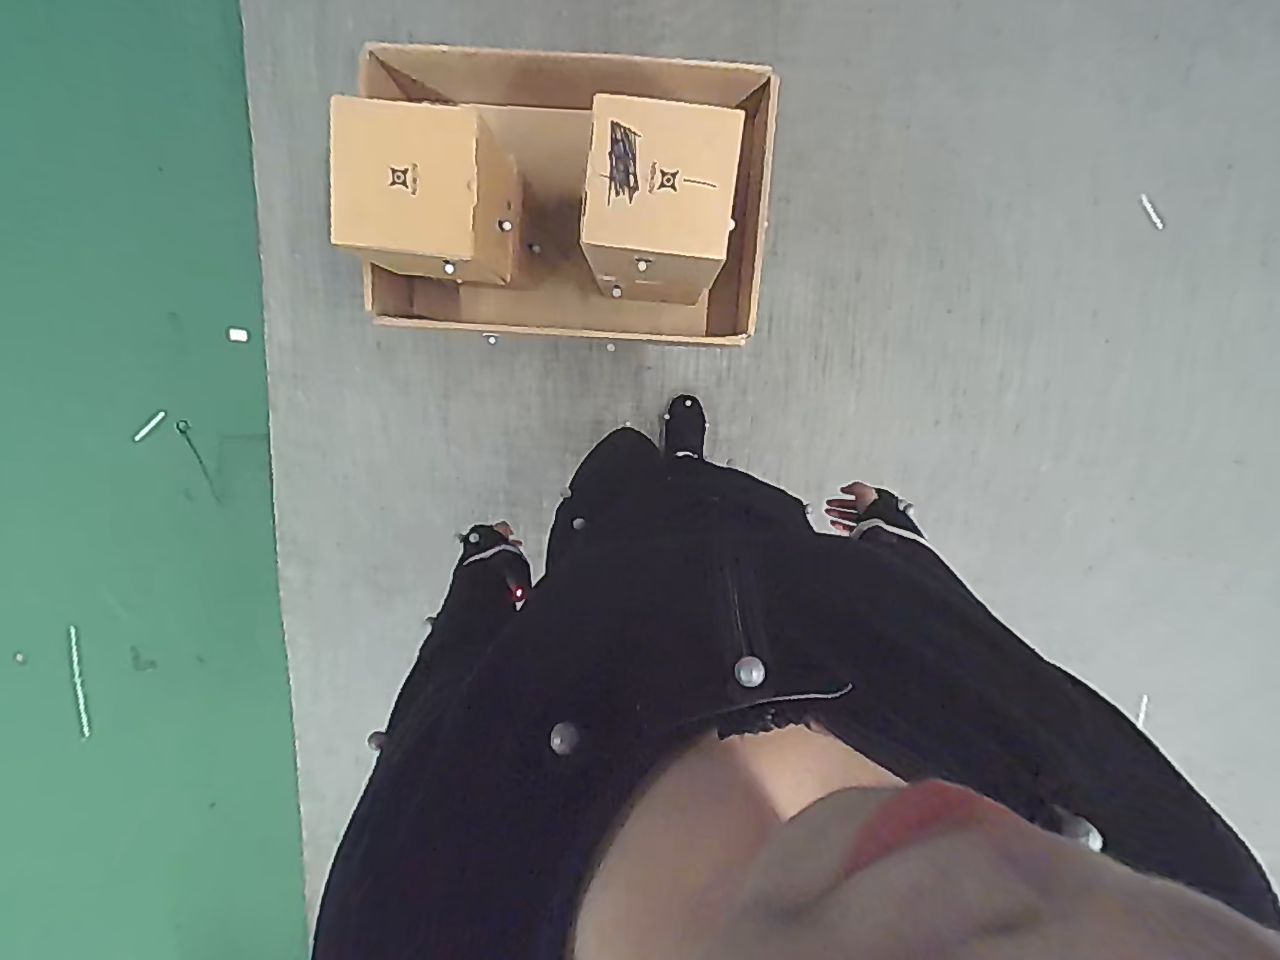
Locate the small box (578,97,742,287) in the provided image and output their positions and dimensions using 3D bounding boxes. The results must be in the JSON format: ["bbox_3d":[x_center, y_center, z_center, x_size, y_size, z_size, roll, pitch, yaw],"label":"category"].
[{"bbox_3d":[0.024,-0.359,0.705,0.179,0.176,0.168,7,99,1],"label":"small box"}]

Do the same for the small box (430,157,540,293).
[{"bbox_3d":[-0.271,-0.408,0.876,0.179,0.176,0.168,6,100,0],"label":"small box"}]

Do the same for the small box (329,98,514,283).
[{"bbox_3d":[-0.279,-0.367,0.718,0.179,0.176,0.168,6,99,0],"label":"small box"}]
